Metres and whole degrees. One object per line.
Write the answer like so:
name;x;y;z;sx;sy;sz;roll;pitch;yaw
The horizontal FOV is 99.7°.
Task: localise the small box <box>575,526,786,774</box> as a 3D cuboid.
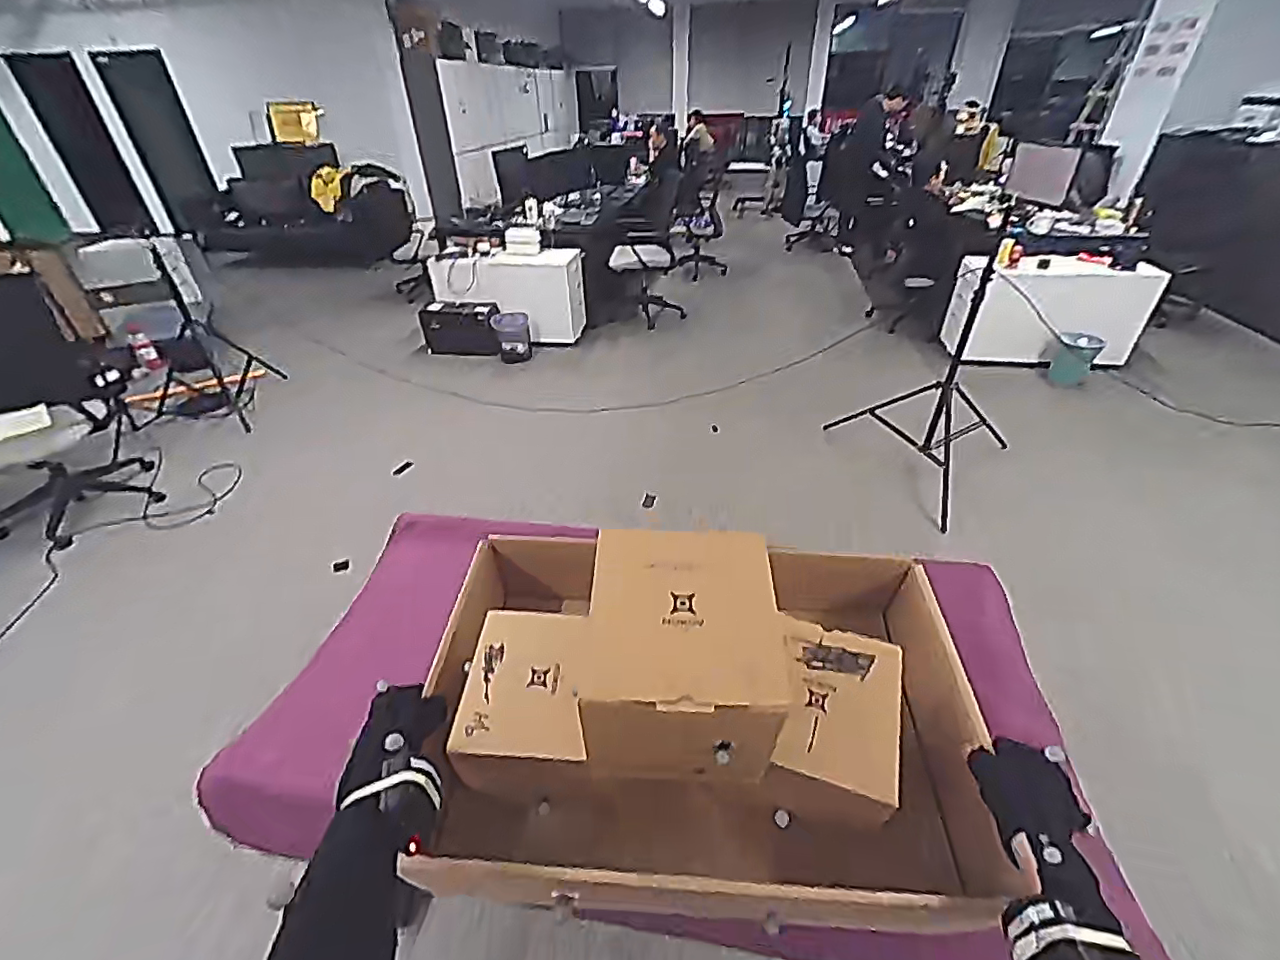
small box;0.035;0.166;0.526;0.168;0.176;0.179;2;43;1
